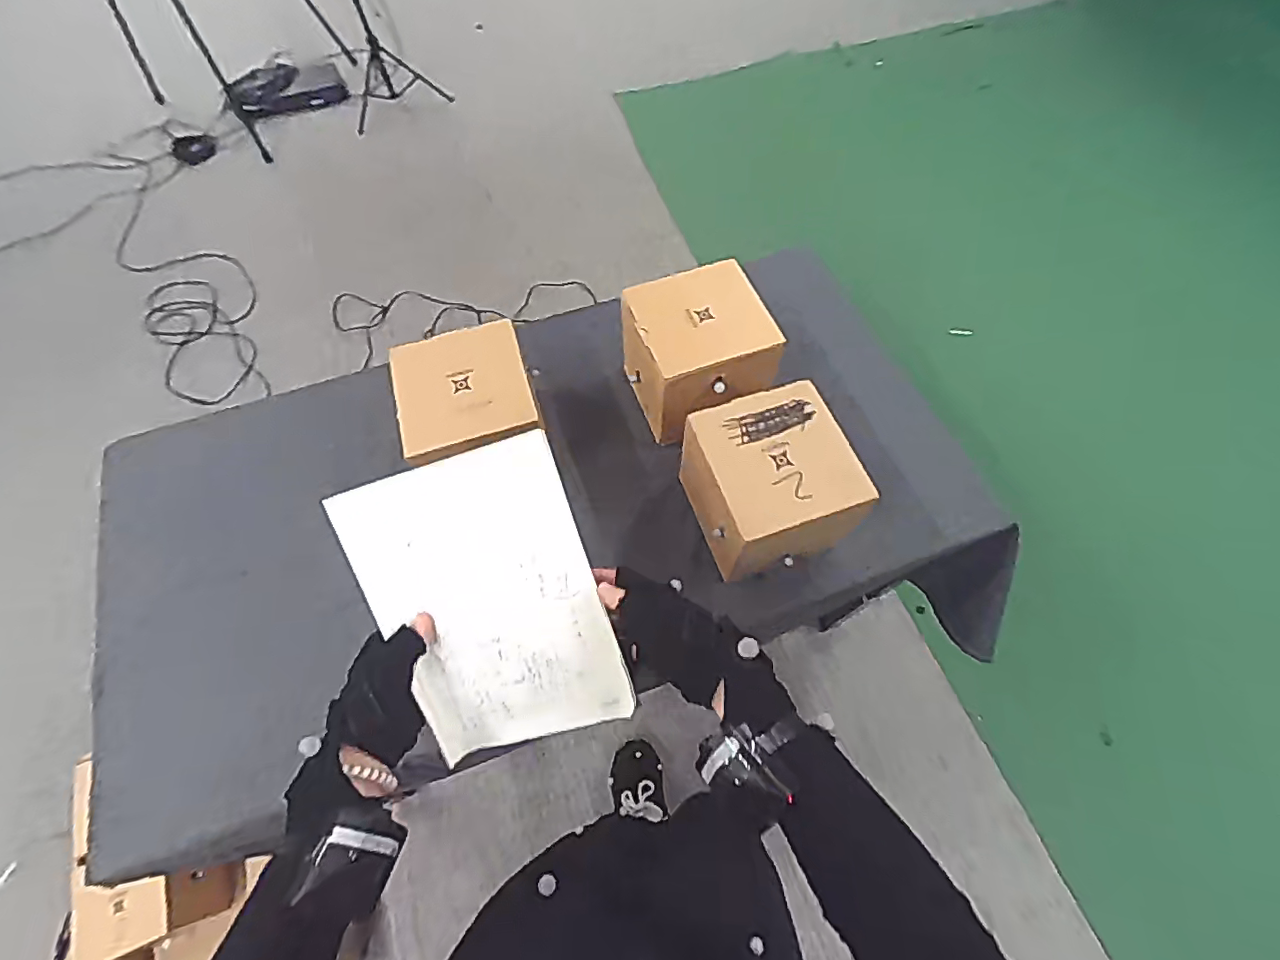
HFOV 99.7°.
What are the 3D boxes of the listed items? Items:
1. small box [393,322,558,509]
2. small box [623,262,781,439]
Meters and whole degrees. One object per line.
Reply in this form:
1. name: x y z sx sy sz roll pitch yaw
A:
1. small box: -0.223 -0.085 0.757 0.168 0.176 0.179 -16 65 -6
2. small box: 0.078 -0.185 0.796 0.179 0.176 0.168 -15 63 -10
